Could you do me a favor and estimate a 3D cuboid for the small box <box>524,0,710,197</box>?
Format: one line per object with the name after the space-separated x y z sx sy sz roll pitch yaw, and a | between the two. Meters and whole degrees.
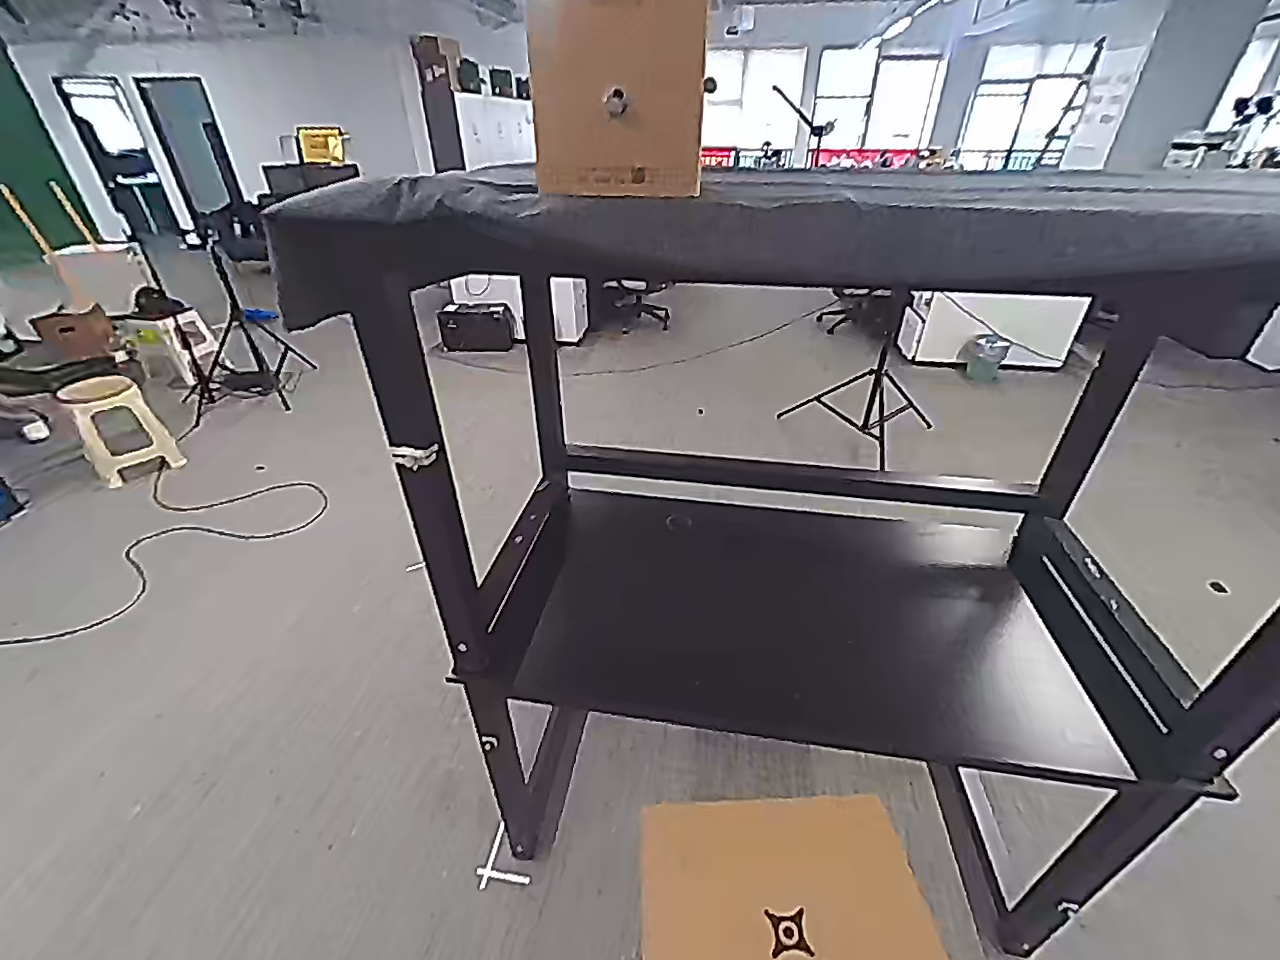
-0.013 -0.401 0.573 0.168 0.176 0.179 4 32 4 | small box
